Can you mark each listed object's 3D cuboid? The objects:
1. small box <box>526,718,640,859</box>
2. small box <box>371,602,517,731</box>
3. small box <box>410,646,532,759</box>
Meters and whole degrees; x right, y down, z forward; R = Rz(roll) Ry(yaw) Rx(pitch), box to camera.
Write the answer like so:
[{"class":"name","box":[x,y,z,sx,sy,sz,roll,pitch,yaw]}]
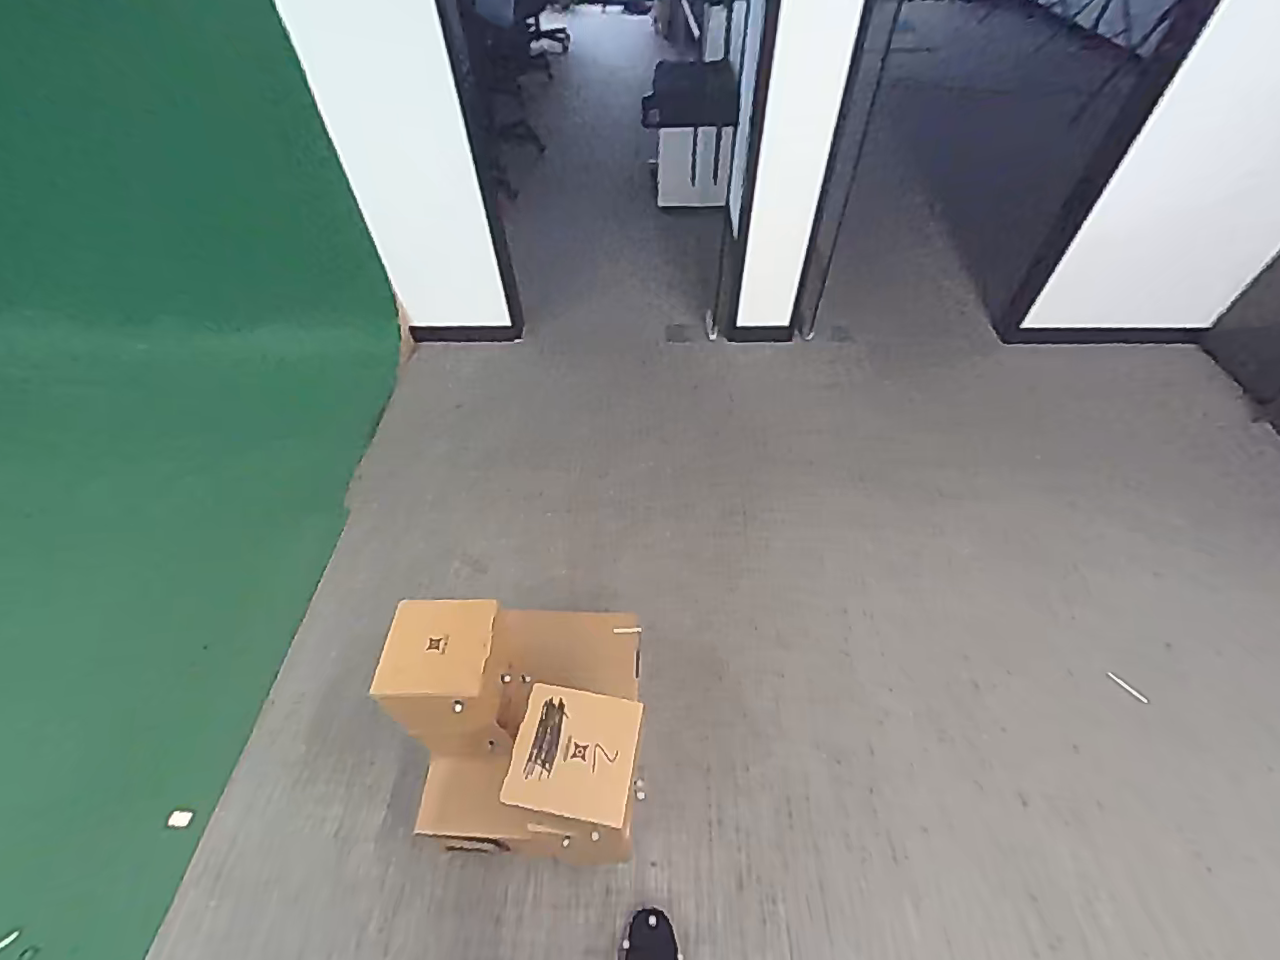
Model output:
[{"class":"small box","box":[-0.091,0.549,0.962,0.168,0.176,0.179,4,49,4]},{"class":"small box","box":[-0.329,0.328,0.946,0.179,0.176,0.168,0,48,1]},{"class":"small box","box":[-0.319,0.439,1.066,0.179,0.176,0.168,-1,48,1]}]
